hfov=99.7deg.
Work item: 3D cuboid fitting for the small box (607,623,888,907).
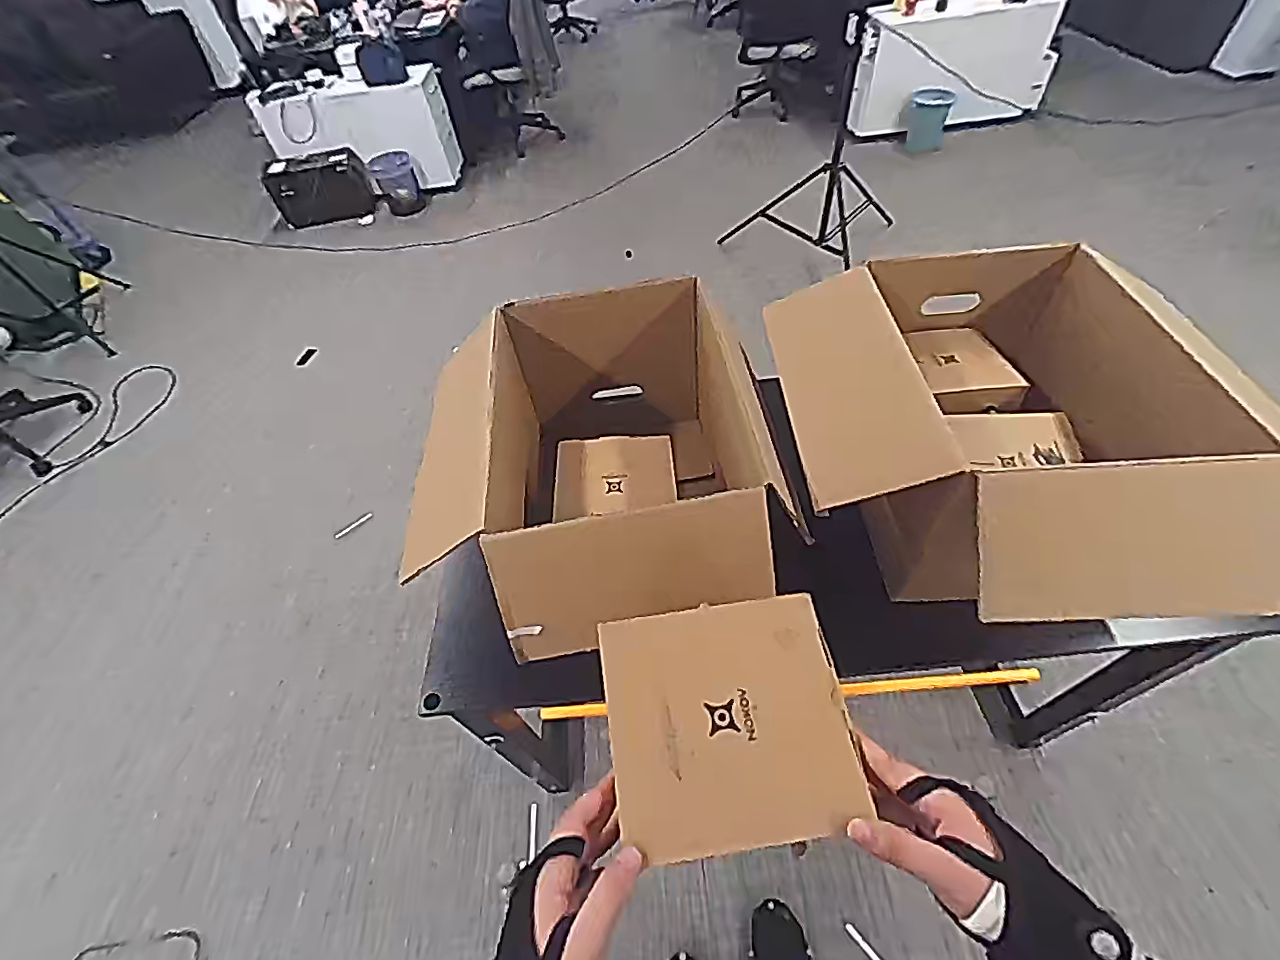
[{"bbox_3d":[0.074,0.237,0.466,0.179,0.176,0.168,-10,59,-2],"label":"small box"}]
